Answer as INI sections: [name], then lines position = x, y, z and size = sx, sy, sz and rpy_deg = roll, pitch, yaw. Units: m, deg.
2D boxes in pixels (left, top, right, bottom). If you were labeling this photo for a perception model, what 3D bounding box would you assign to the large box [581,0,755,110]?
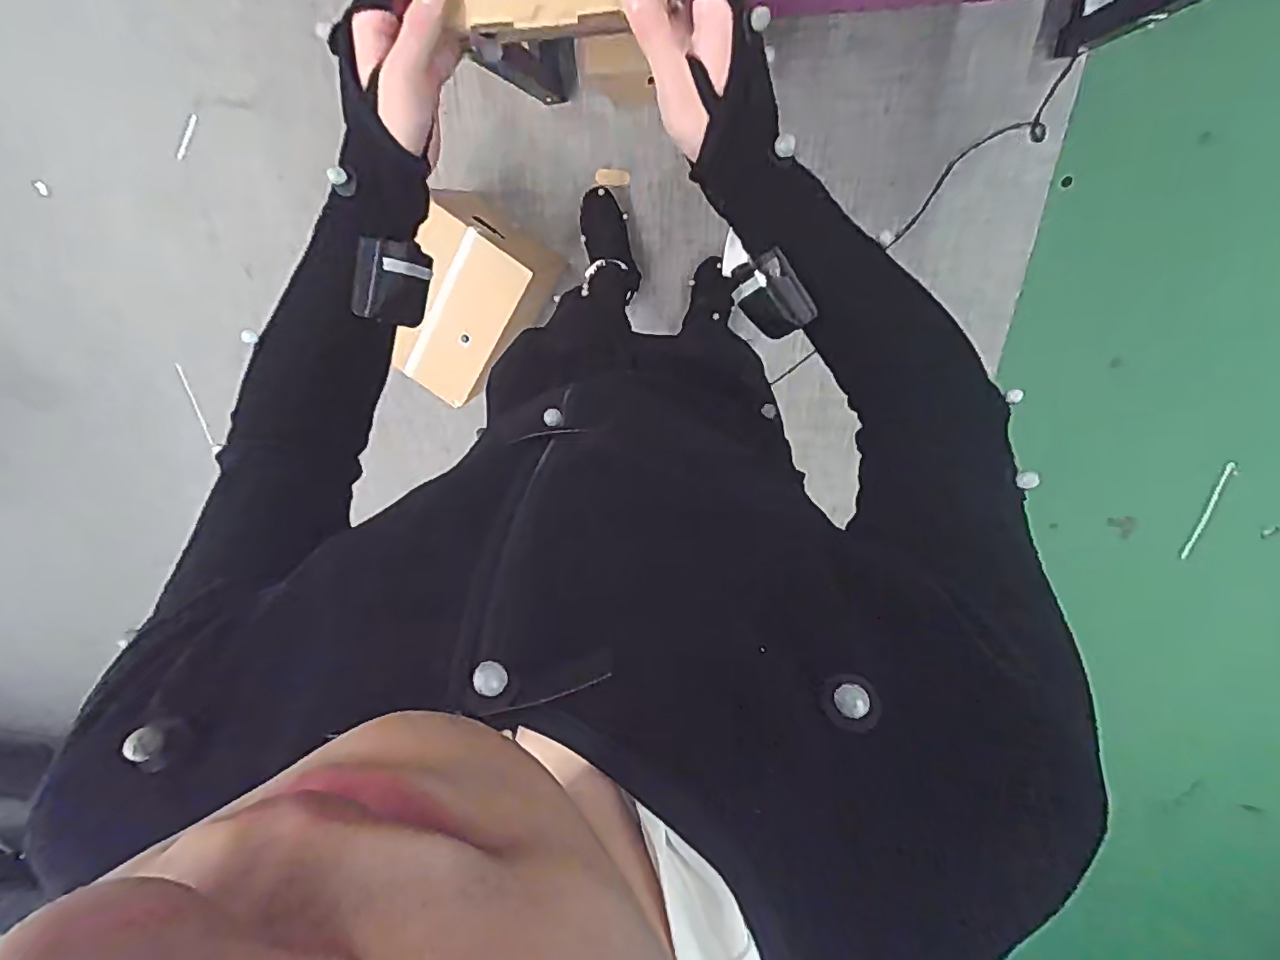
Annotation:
[large box]
position = 0.065, -1.004, 1.062
size = 0.320, 0.320, 0.408
rpy_deg = 2, 115, 8
